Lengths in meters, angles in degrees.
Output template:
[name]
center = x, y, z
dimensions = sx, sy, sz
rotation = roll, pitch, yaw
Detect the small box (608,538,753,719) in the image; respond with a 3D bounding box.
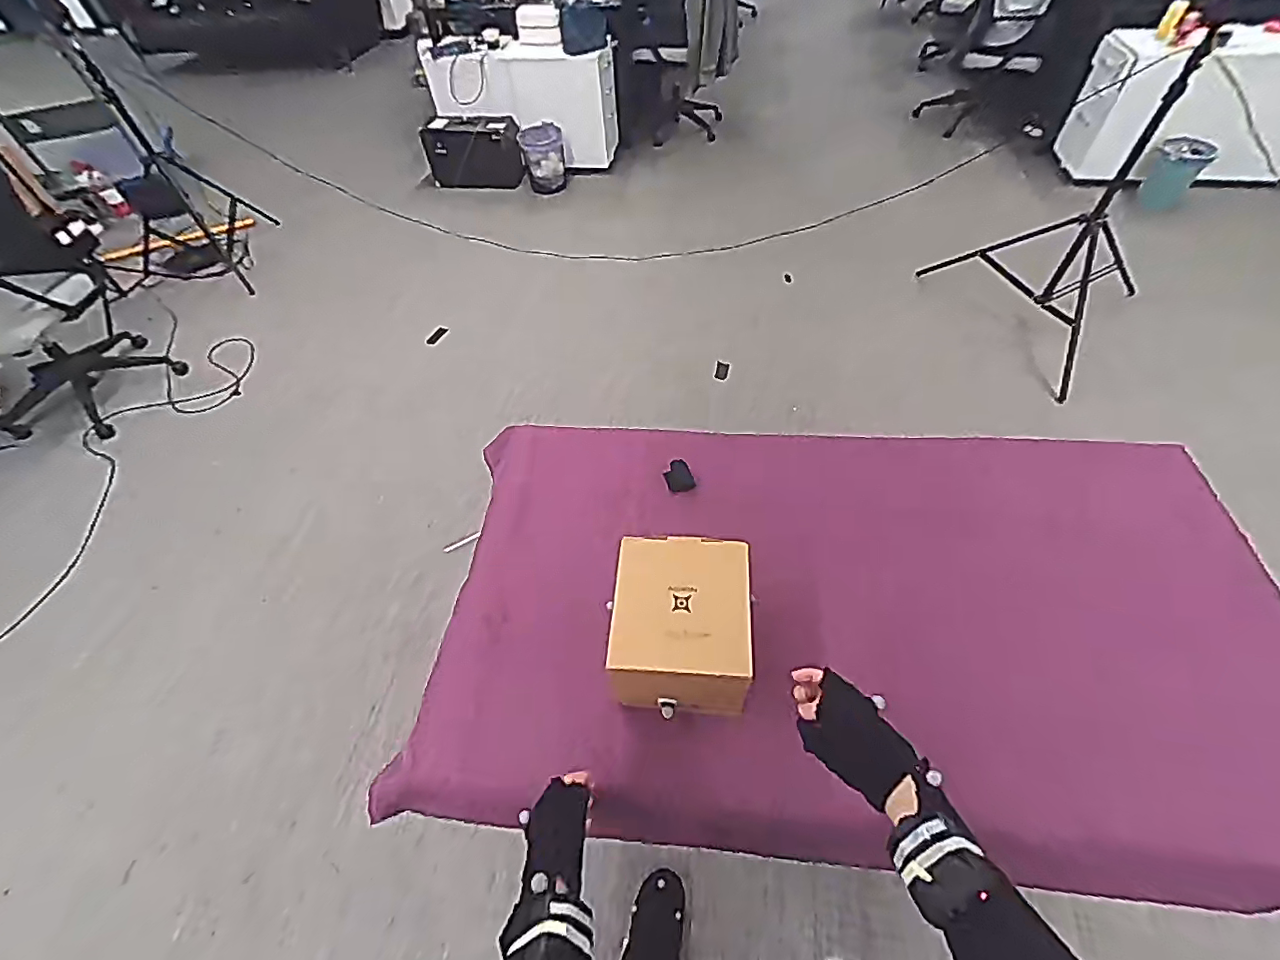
[small box]
center = 0.056, 0.197, 0.715
dimensions = 0.168, 0.176, 0.179
rotation = 2, 52, 6
